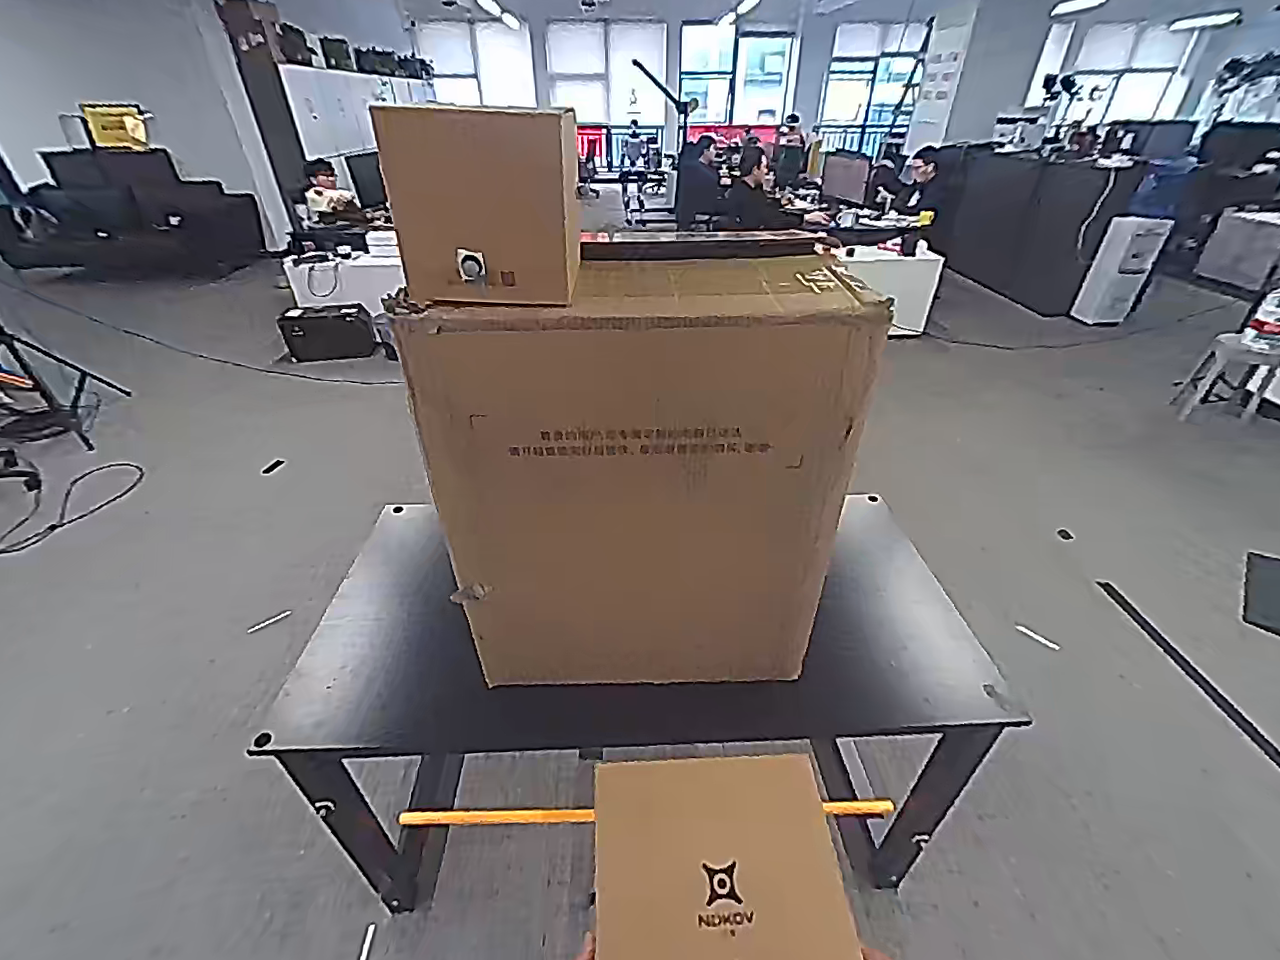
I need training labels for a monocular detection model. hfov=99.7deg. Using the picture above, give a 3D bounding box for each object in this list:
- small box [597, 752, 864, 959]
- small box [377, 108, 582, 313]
[{"bbox_3d":[0.051,0.329,0.406,0.168,0.176,0.179,-1,43,-3],"label":"small box"},{"bbox_3d":[-0.150,-0.290,0.577,0.168,0.176,0.179,0,36,-2],"label":"small box"}]
